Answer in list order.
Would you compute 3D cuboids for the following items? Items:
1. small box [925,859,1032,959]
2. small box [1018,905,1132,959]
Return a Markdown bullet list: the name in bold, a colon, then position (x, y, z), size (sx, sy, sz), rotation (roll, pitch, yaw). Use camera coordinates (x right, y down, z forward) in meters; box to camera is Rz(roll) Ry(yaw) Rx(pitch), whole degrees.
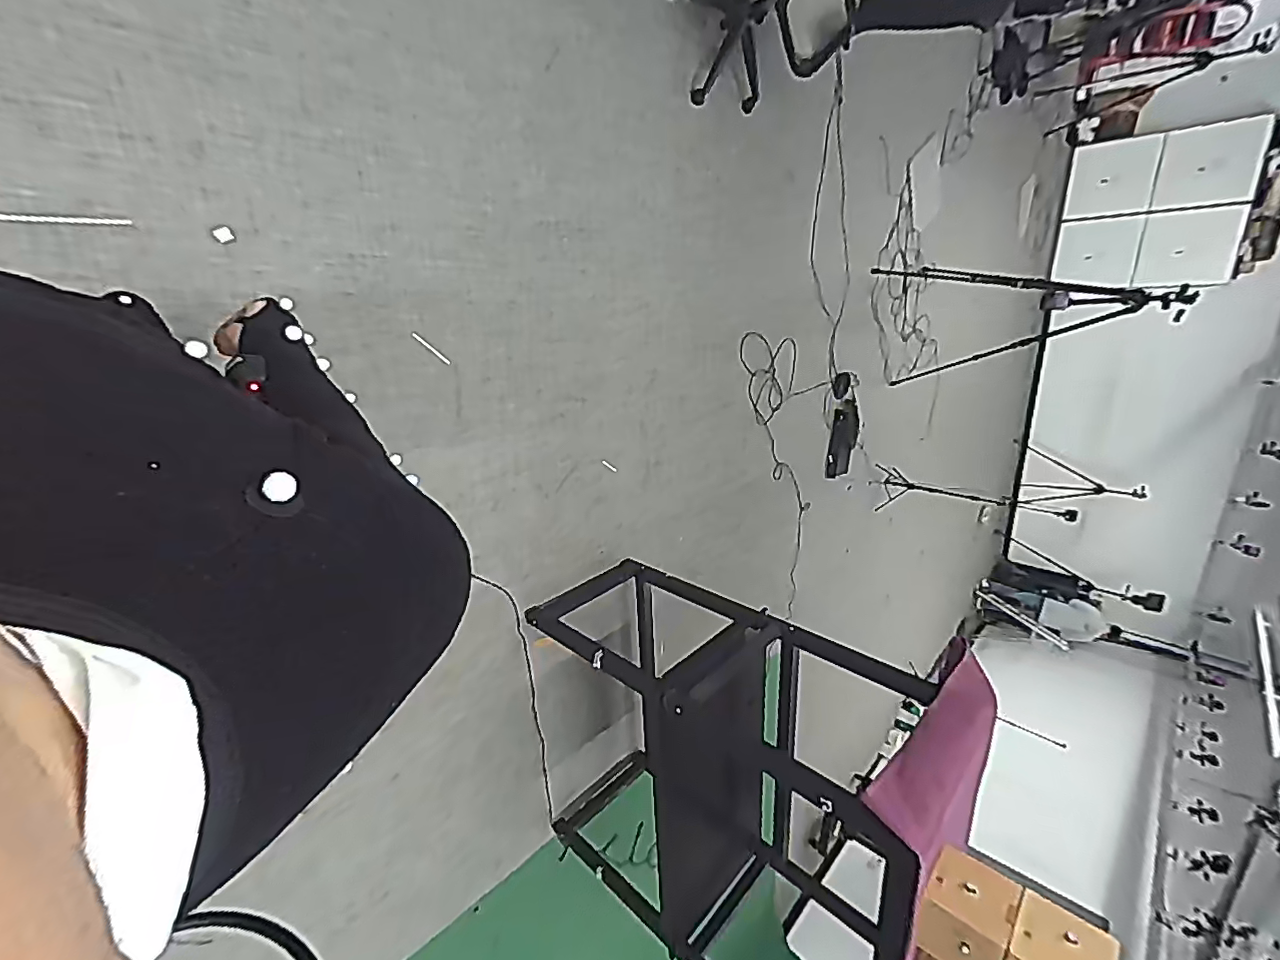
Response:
- **small box**: position (0.764, 1.012, 1.227), size (0.168, 0.176, 0.179), rotation (-23, 116, -41)
- **small box**: position (0.883, 1.040, 1.119), size (0.168, 0.176, 0.179), rotation (-24, 118, -41)
